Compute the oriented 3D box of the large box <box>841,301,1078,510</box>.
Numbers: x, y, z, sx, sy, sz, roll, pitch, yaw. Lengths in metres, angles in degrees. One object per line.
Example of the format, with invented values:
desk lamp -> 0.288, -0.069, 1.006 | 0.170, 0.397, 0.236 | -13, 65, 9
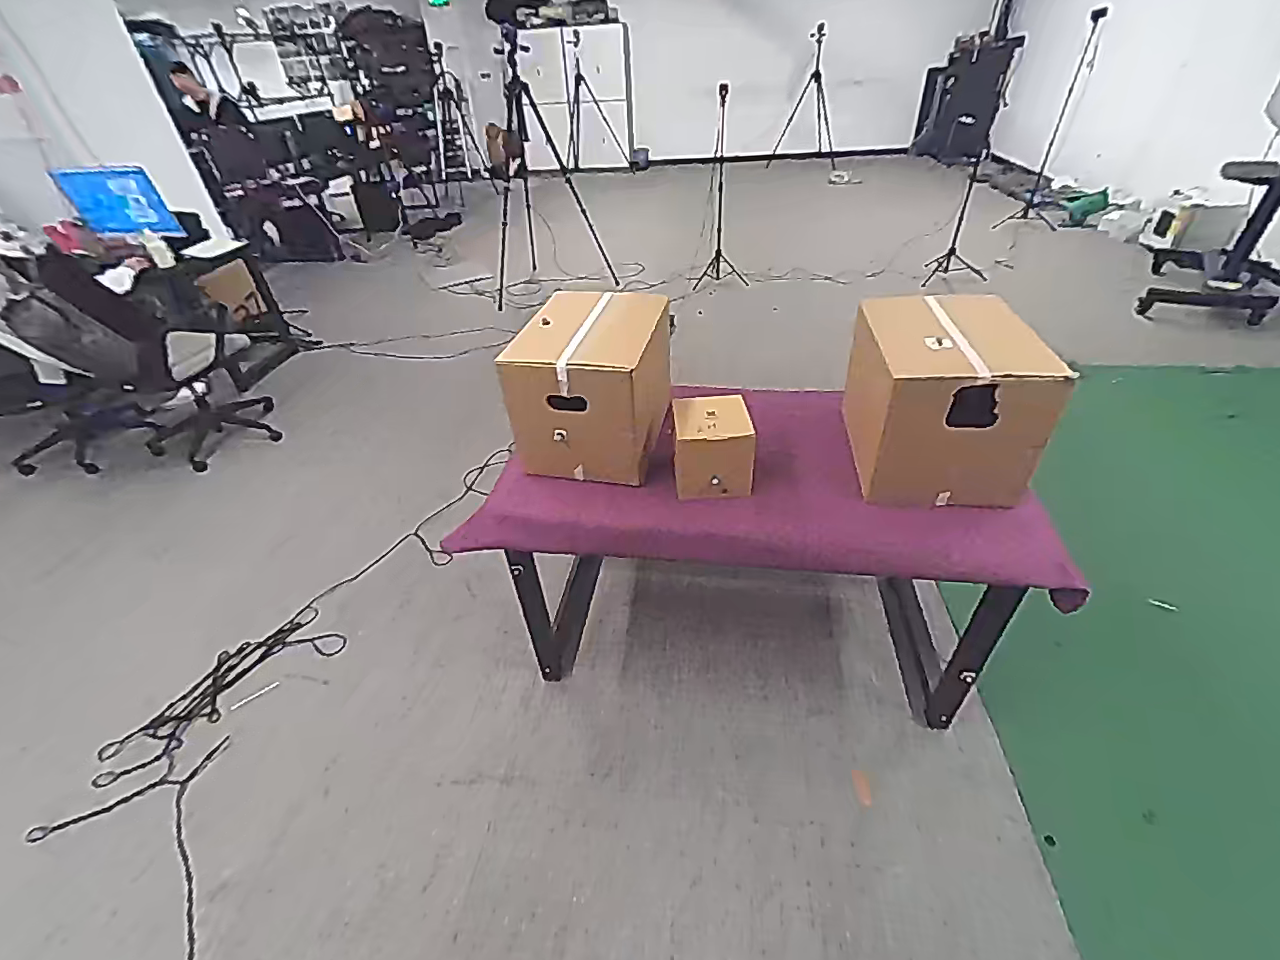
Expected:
large box -> 0.664, -0.179, 1.223 | 0.320, 0.320, 0.408 | 1, 39, 10
